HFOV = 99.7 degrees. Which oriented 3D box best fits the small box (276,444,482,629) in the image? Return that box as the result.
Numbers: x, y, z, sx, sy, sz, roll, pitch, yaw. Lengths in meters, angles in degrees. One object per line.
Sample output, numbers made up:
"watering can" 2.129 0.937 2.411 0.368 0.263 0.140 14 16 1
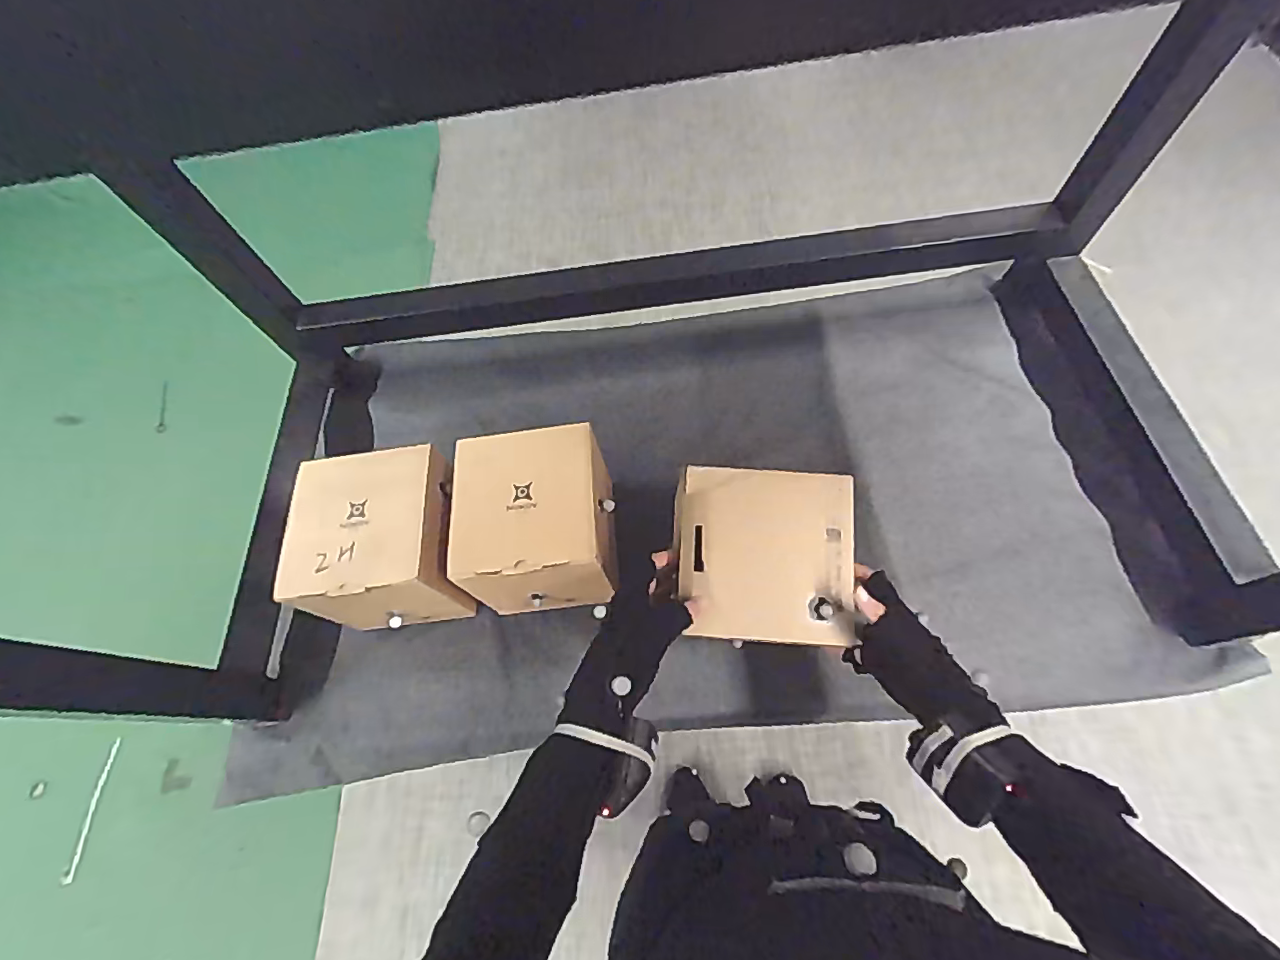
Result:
"small box" -0.313 0.078 0.691 0.168 0.176 0.179 -8 63 4
